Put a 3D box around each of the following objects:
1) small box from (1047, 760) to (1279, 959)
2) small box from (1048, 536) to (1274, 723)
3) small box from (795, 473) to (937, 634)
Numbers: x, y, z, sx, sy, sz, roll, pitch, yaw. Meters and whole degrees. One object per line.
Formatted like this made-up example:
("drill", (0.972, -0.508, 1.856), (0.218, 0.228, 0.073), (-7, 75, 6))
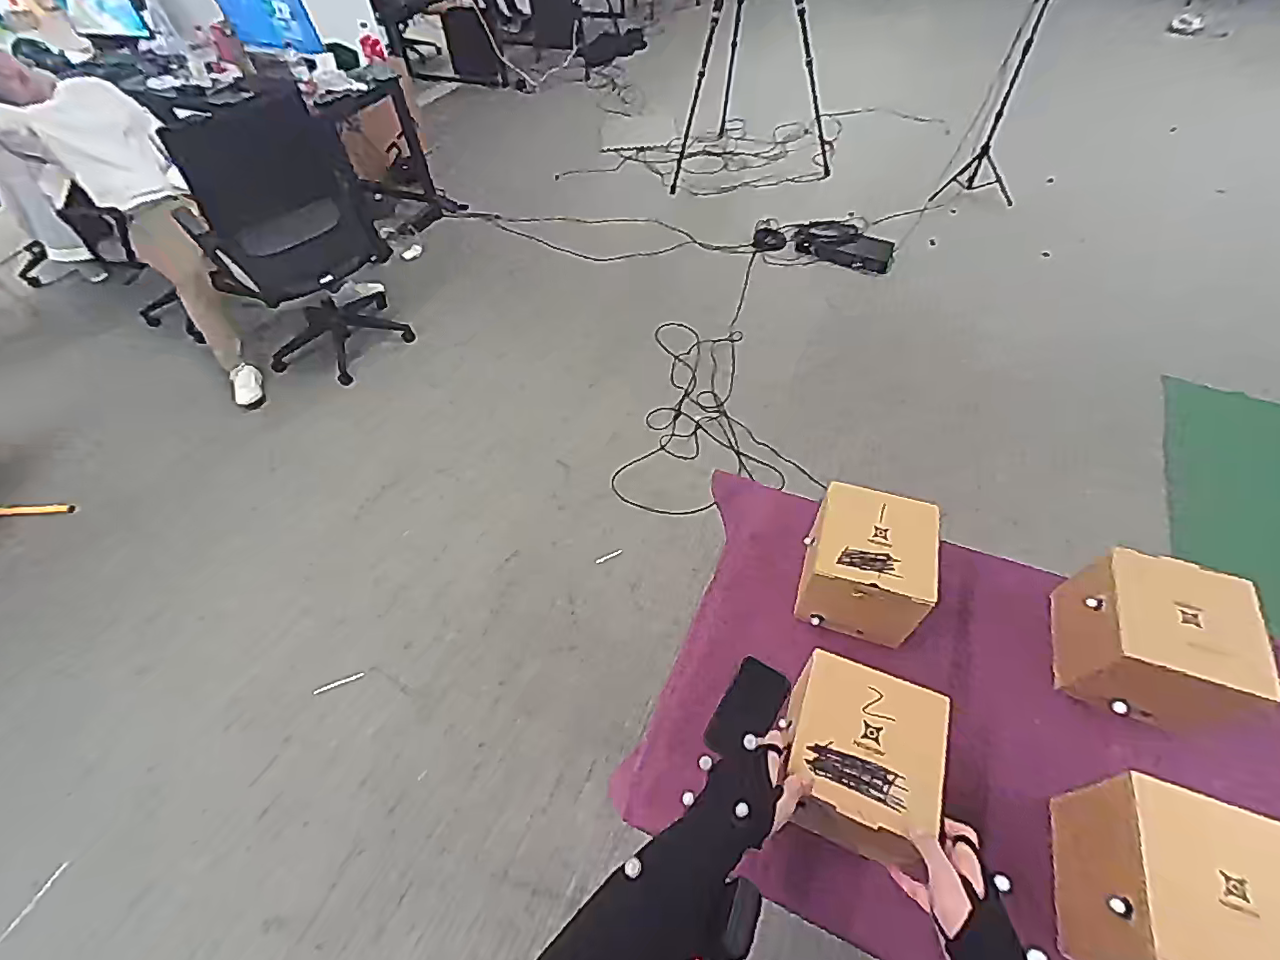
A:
("small box", (0.590, 0.449, 0.603), (0.168, 0.176, 0.179), (17, 55, 15))
("small box", (0.719, 0.216, 0.775), (0.168, 0.176, 0.179), (17, 56, 17))
("small box", (0.354, 0.121, 0.866), (0.168, 0.176, 0.179), (15, 54, 14))
